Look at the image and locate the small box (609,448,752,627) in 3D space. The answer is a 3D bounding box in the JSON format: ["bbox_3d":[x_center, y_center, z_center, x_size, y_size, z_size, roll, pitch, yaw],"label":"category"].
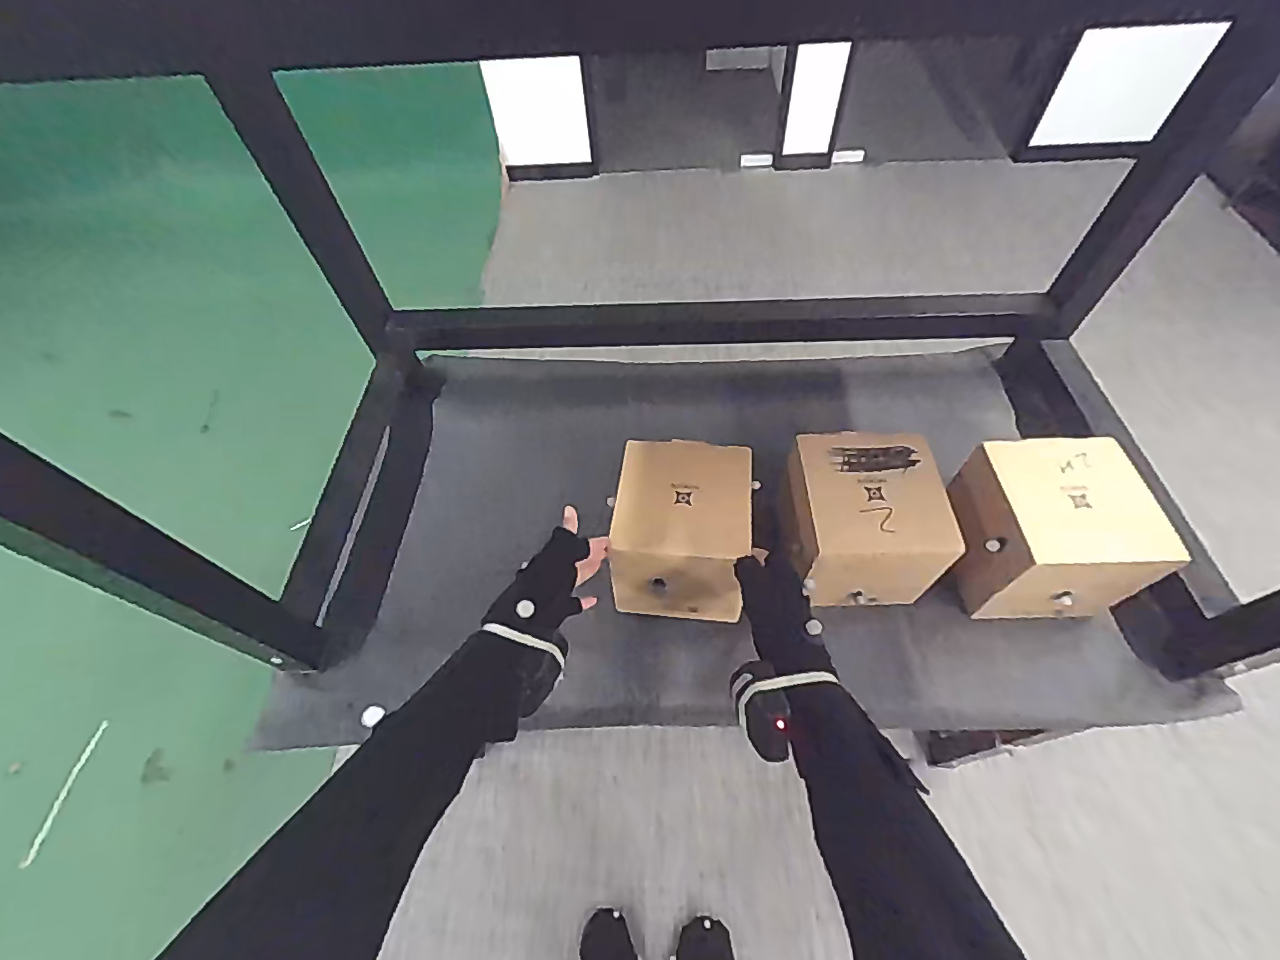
[{"bbox_3d":[0.059,0.079,0.724,0.168,0.176,0.179,4,50,6],"label":"small box"}]

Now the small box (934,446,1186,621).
[{"bbox_3d":[0.519,0.076,0.704,0.168,0.176,0.179,-2,54,2],"label":"small box"}]
